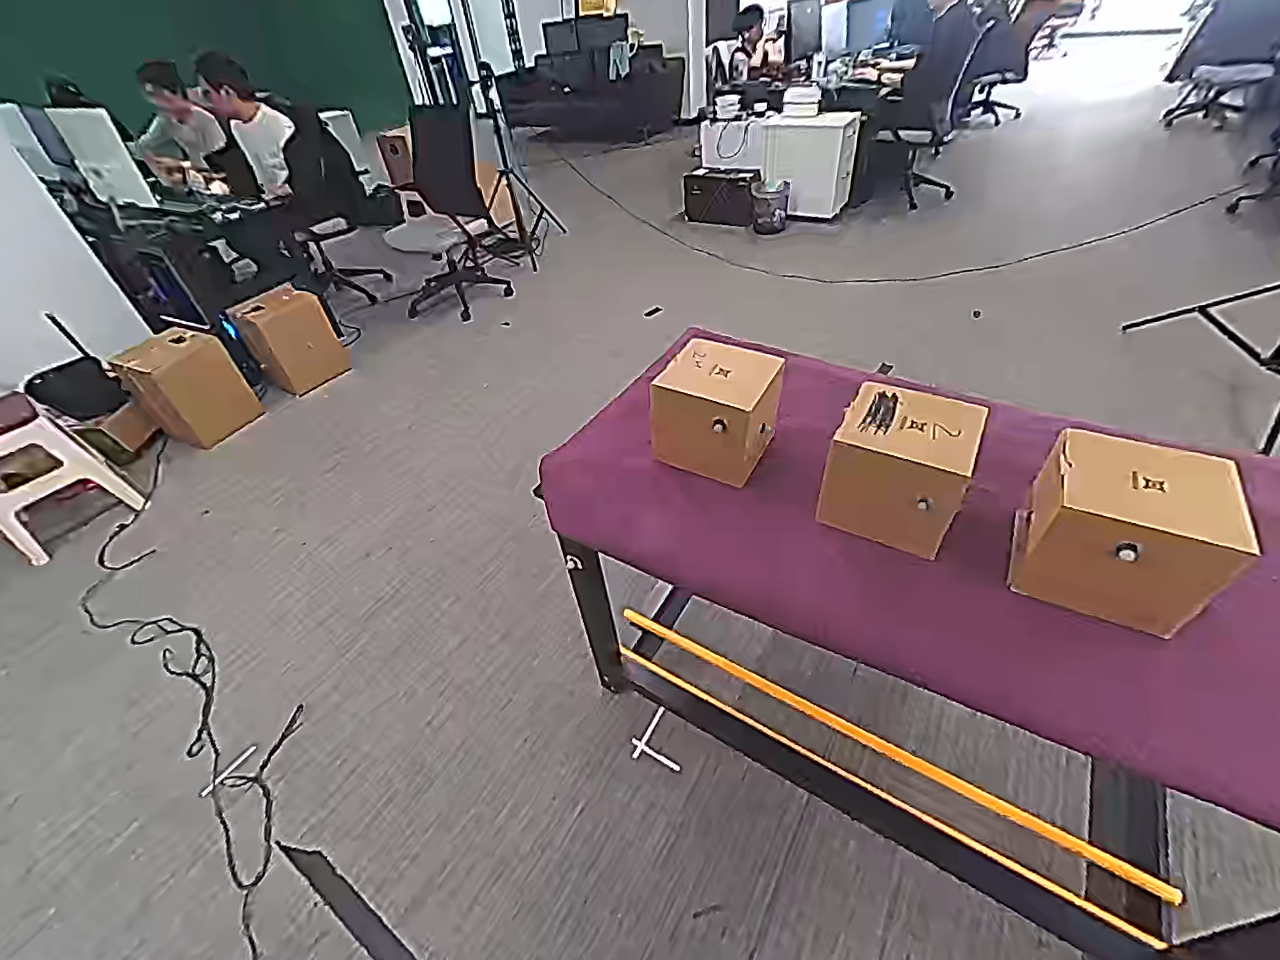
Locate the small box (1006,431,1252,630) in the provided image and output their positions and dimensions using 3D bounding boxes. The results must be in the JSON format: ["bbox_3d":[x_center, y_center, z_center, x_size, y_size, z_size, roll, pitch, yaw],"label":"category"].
[{"bbox_3d":[0.611,0.066,0.699,0.179,0.176,0.168,18,48,25],"label":"small box"}]

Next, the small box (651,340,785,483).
[{"bbox_3d":[0.136,-0.118,0.954,0.179,0.176,0.168,20,48,23],"label":"small box"}]
